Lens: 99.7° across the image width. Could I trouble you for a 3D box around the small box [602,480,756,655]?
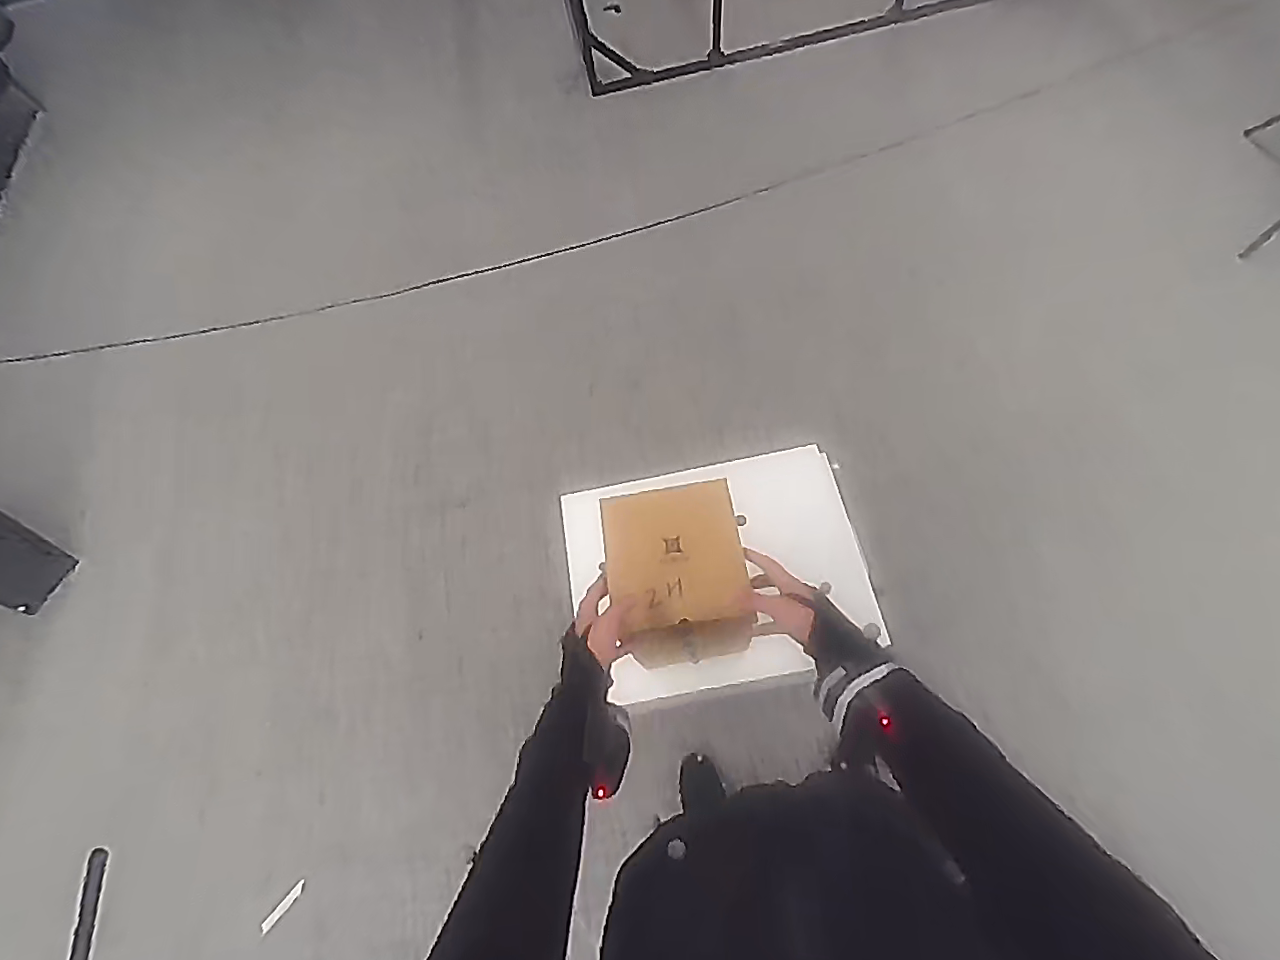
[{"bbox_3d":[0.049,0.122,0.717,0.168,0.176,0.179,-10,65,3],"label":"small box"}]
